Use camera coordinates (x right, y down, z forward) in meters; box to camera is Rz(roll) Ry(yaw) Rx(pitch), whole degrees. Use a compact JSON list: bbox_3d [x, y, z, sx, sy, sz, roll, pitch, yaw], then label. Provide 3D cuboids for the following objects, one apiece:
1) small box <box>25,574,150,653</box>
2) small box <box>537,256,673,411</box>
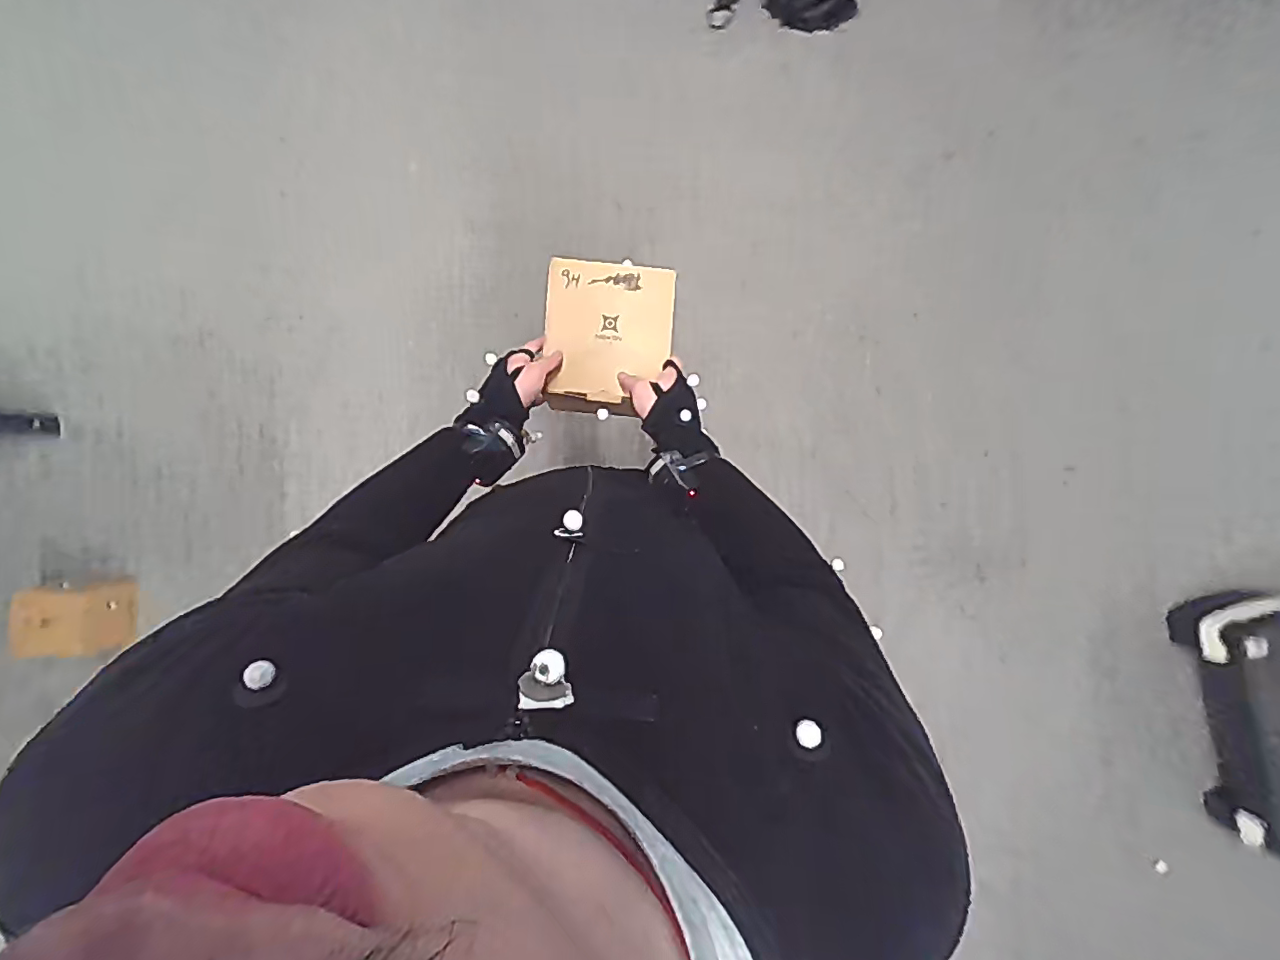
[{"bbox_3d":[-1.484,0.356,1.463,0.179,0.176,0.168,4,91,0],"label":"small box"},{"bbox_3d":[-0.049,-0.193,0.765,0.168,0.176,0.179,3,91,-4],"label":"small box"}]
